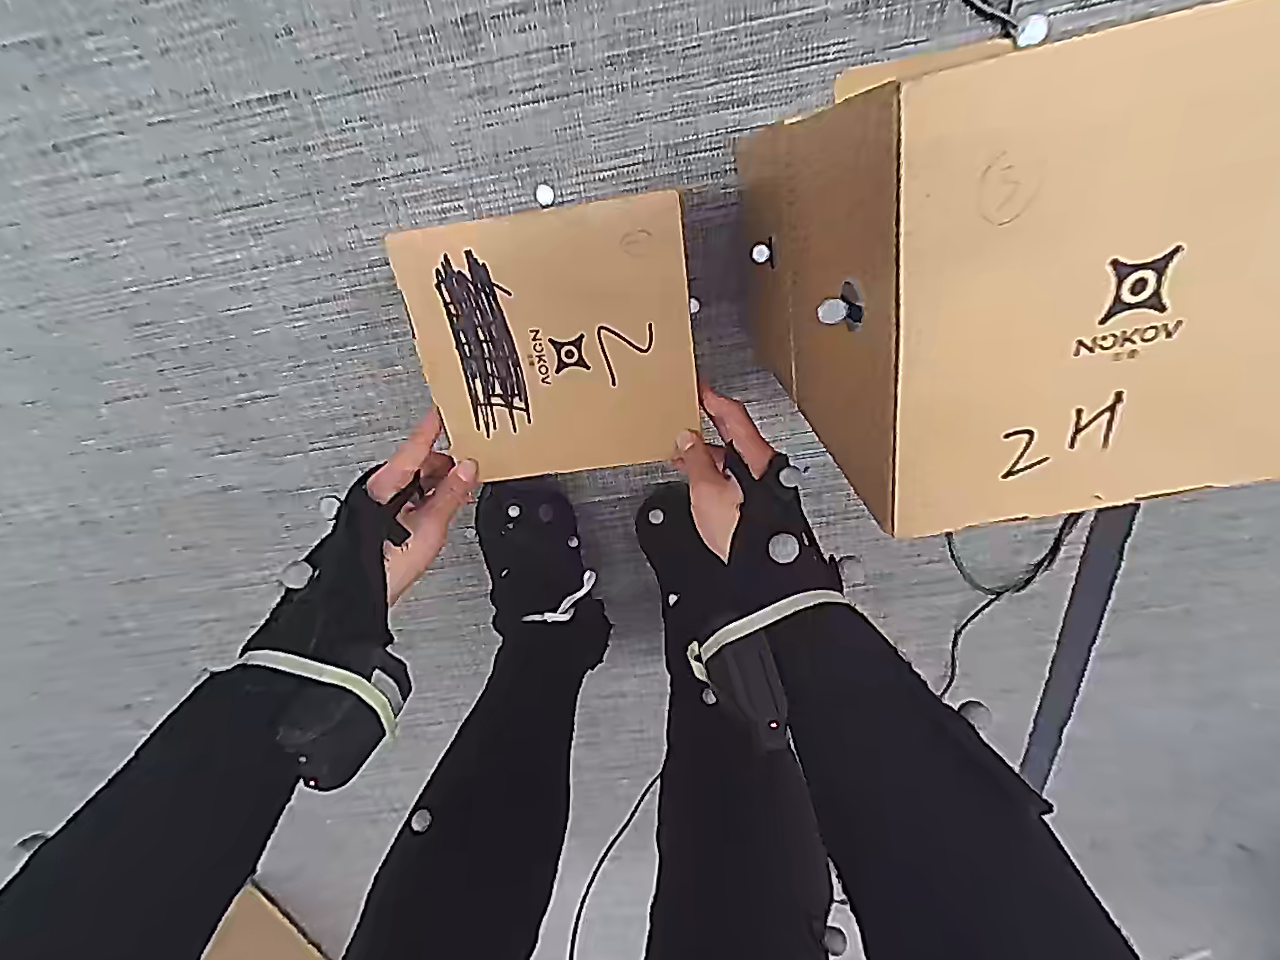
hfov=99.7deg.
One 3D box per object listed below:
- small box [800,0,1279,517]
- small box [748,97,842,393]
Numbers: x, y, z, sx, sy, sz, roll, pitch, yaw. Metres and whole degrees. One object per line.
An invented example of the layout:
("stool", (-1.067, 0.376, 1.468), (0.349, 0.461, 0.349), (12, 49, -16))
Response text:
("small box", (0.183, -0.108, 0.266), (0.168, 0.176, 0.179), (-10, 118, 6))
("small box", (0.182, -0.185, 0.412), (0.168, 0.176, 0.179), (-8, 118, 4))
